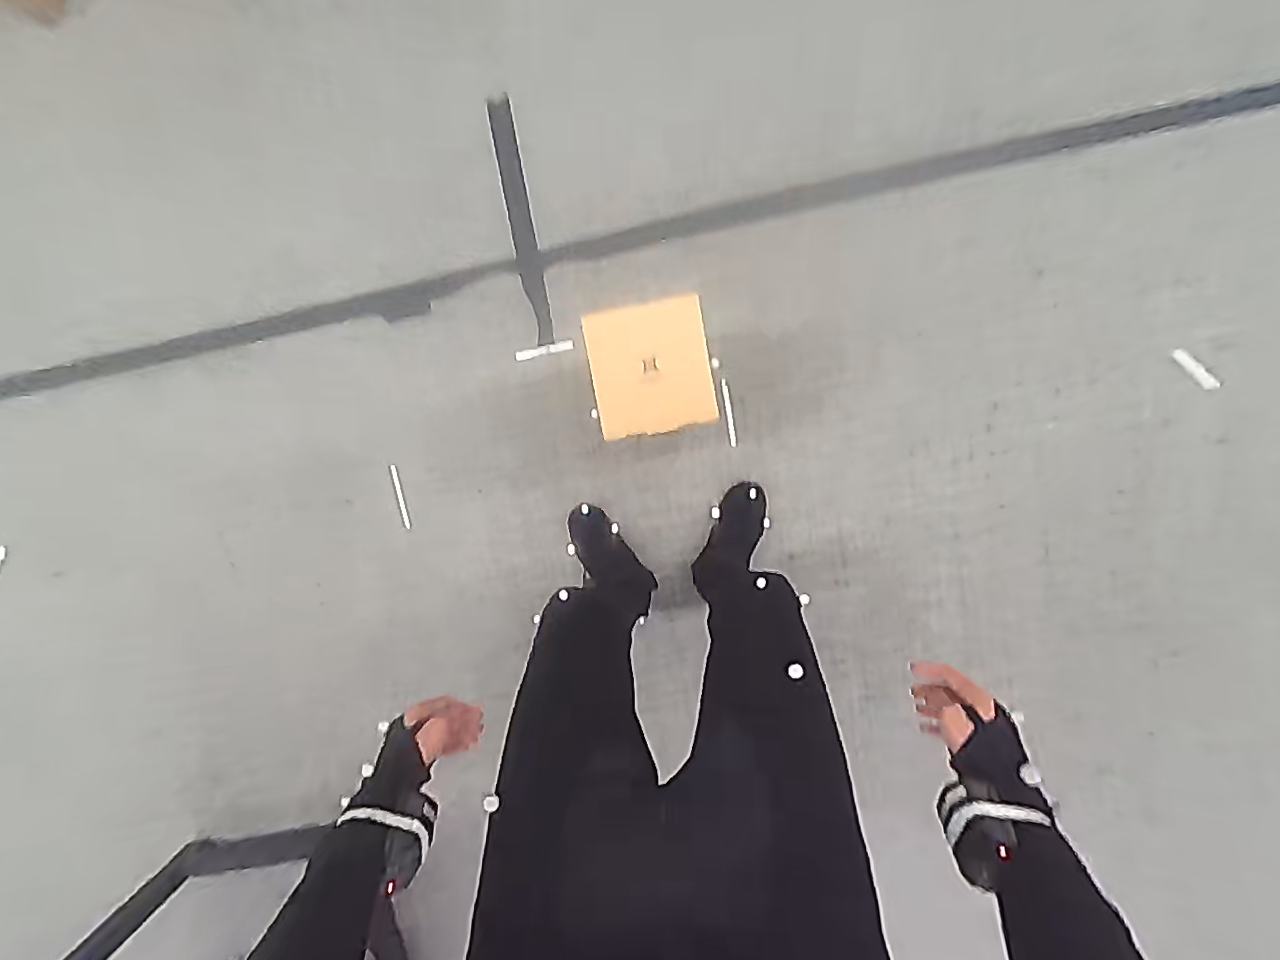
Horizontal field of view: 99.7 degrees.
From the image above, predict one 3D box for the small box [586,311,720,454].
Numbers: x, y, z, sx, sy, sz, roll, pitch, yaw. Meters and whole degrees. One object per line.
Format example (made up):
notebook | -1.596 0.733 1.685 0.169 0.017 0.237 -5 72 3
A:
small box | 0.020 -0.143 0.829 0.168 0.176 0.179 -11 97 3
